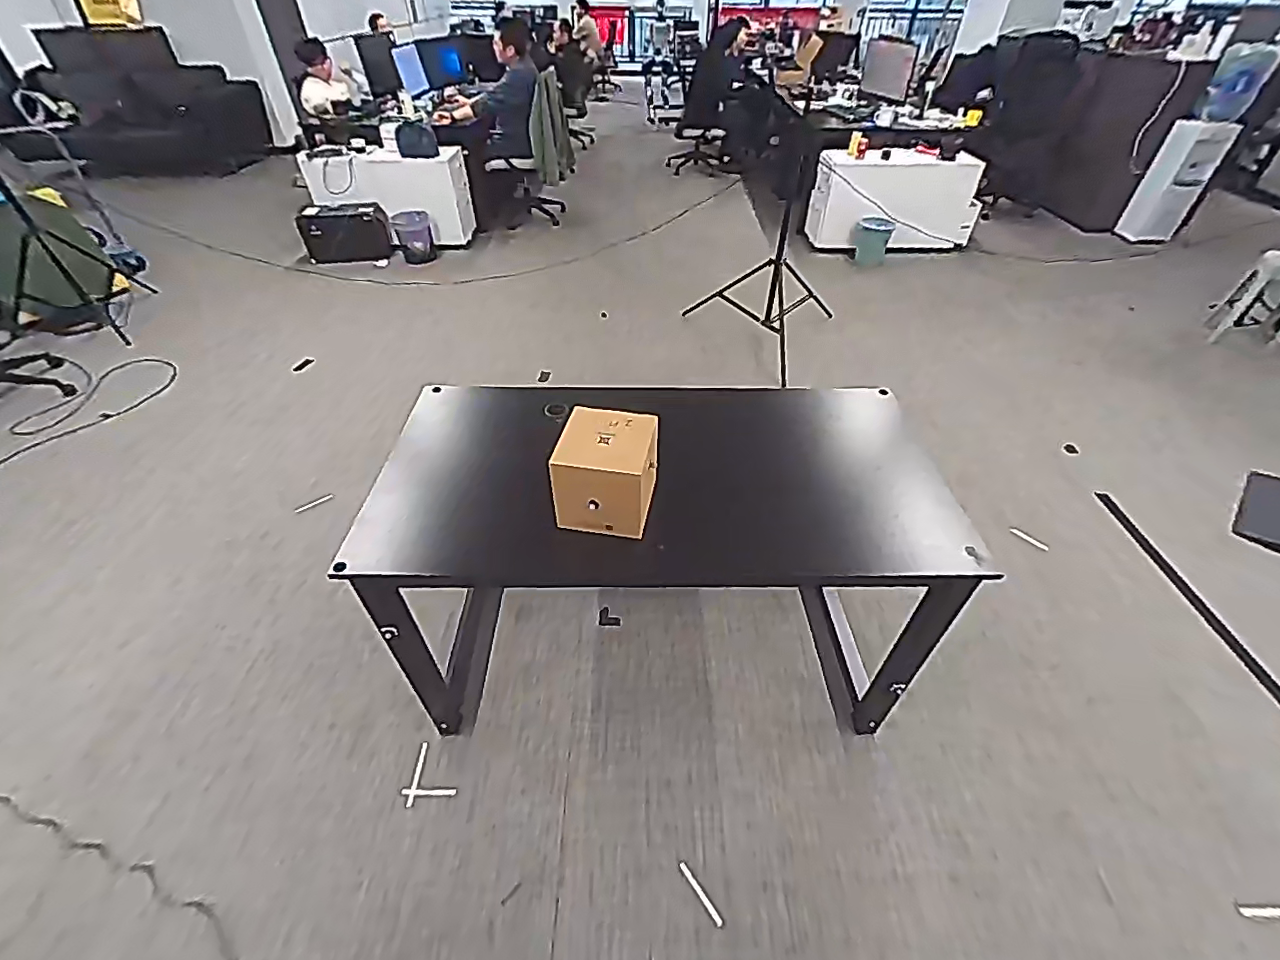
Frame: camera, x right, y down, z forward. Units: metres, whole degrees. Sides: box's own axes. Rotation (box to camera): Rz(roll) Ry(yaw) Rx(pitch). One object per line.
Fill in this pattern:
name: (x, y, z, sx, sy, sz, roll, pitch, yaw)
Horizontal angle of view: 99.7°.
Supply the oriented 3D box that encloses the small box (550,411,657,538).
small box: (-0.063, -0.010, 1.046, 0.168, 0.176, 0.179, 8, 42, 7)
